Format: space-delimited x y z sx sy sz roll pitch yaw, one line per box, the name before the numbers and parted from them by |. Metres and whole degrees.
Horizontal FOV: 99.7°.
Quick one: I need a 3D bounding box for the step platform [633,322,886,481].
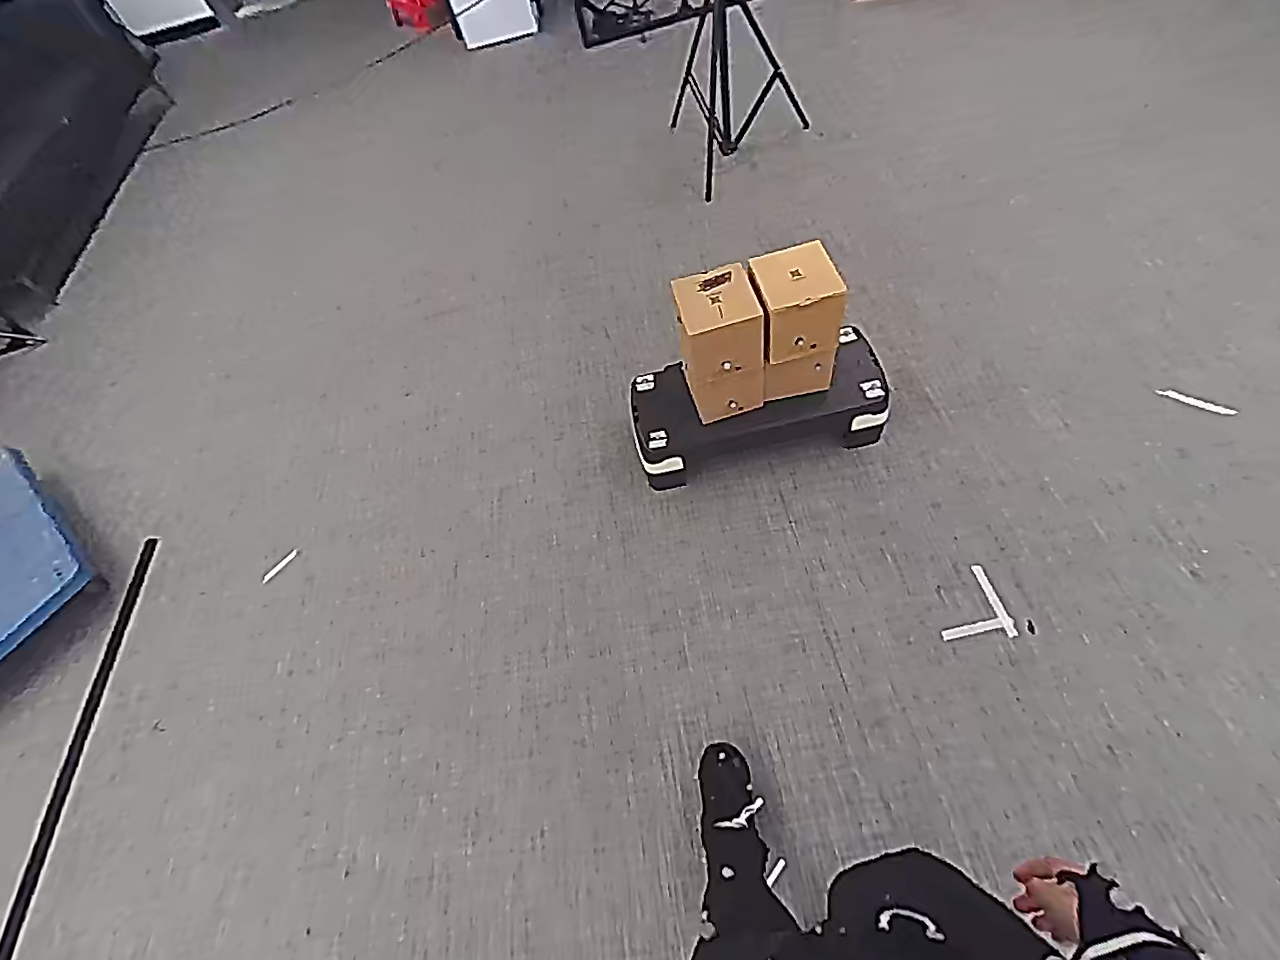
step platform | 0.322 -0.223 1.541 0.684 0.204 0.286 -13 58 5
